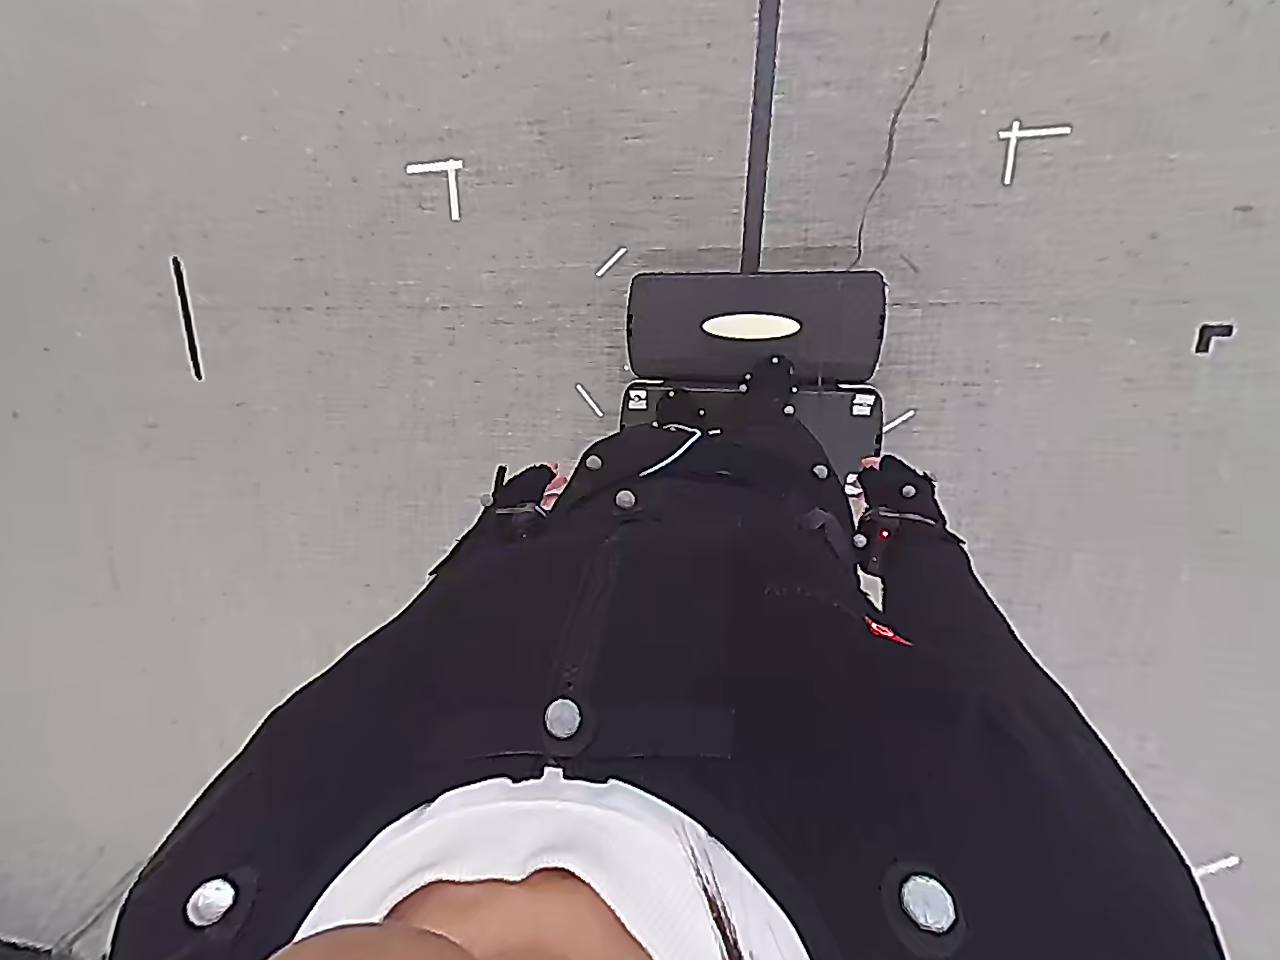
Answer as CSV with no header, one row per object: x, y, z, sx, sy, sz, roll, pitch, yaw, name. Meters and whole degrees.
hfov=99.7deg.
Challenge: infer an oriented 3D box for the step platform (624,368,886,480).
0.298,-0.160,1.475,0.684,0.204,0.286,2,103,11,step platform
